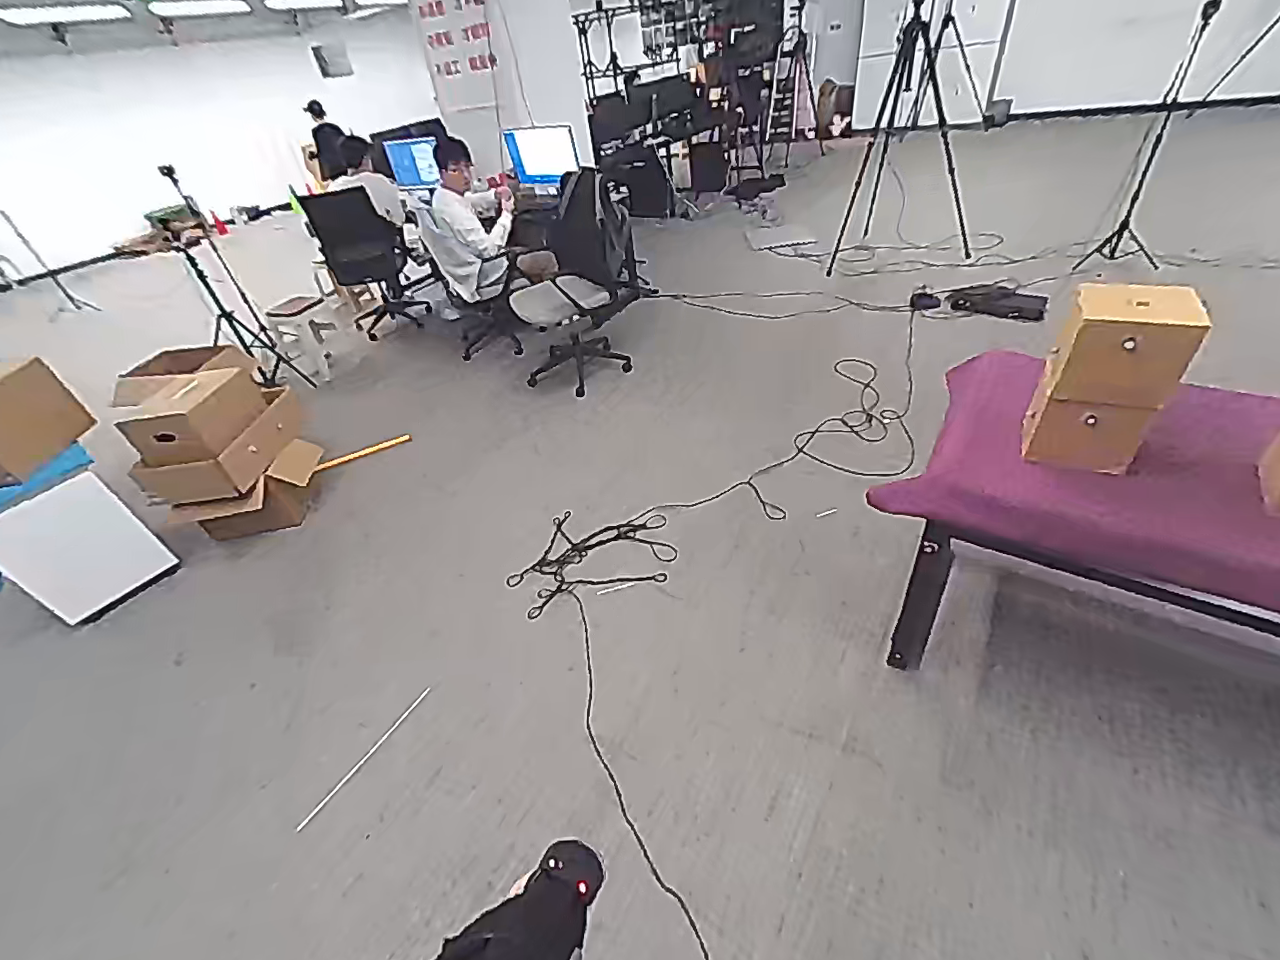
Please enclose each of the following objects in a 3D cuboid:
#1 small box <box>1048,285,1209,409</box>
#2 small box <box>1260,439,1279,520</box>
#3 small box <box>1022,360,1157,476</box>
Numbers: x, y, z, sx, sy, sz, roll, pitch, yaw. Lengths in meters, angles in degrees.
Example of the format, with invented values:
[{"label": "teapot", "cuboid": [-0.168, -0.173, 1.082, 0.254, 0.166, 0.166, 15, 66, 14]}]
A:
[{"label": "small box", "cuboid": [0.903, -0.250, 1.020, 0.179, 0.176, 0.168, 13, 45, 26]}, {"label": "small box", "cuboid": [1.223, -0.019, 0.926, 0.168, 0.176, 0.179, 20, 47, 32]}, {"label": "small box", "cuboid": [0.922, -0.129, 1.126, 0.179, 0.176, 0.168, 15, 45, 27]}]
